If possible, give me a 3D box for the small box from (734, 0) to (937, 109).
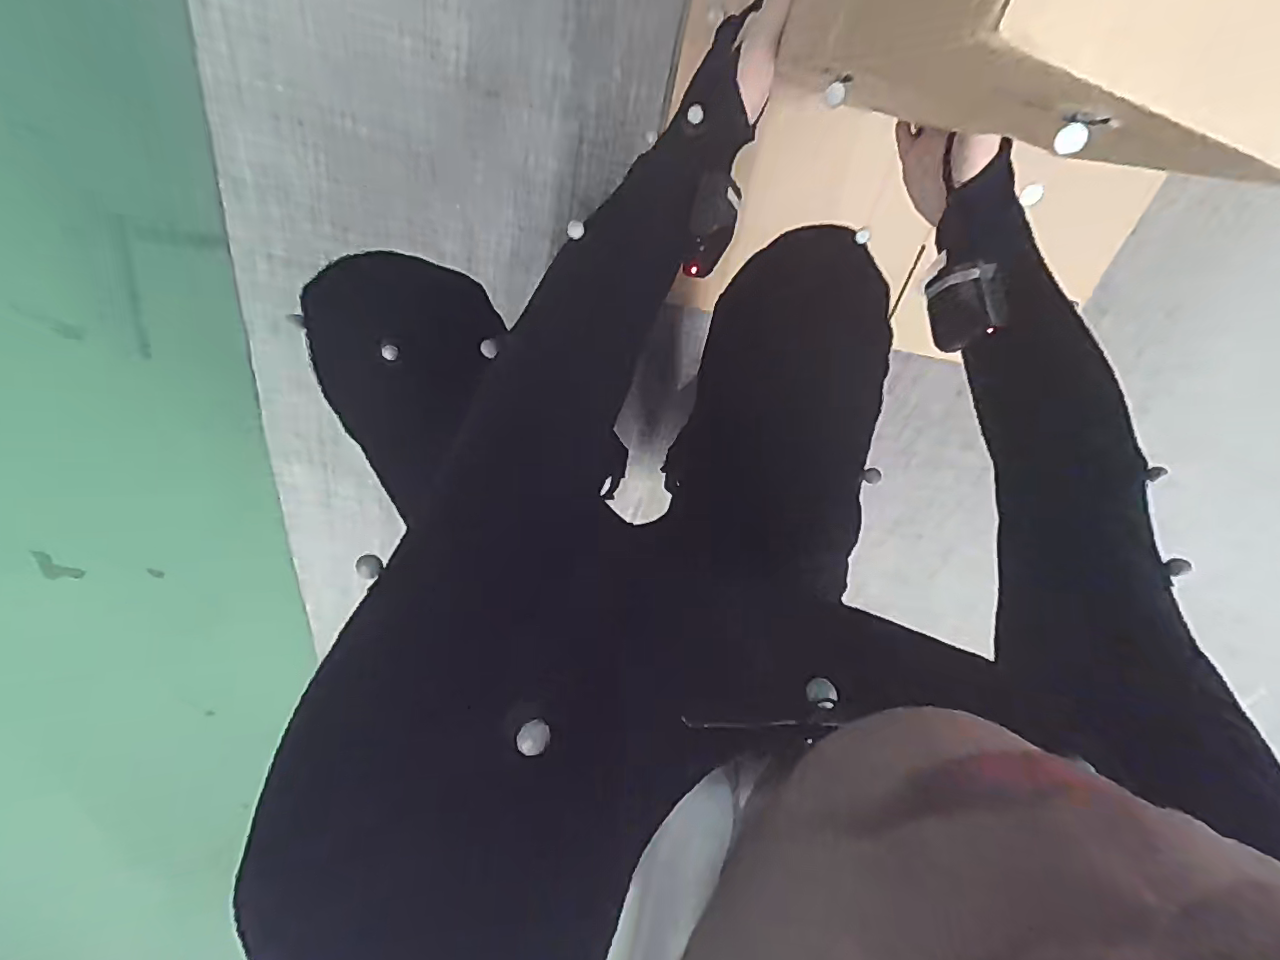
[{"bbox_3d":[0.198,-0.446,0.477,0.179,0.176,0.168,10,124,-10],"label":"small box"}]
